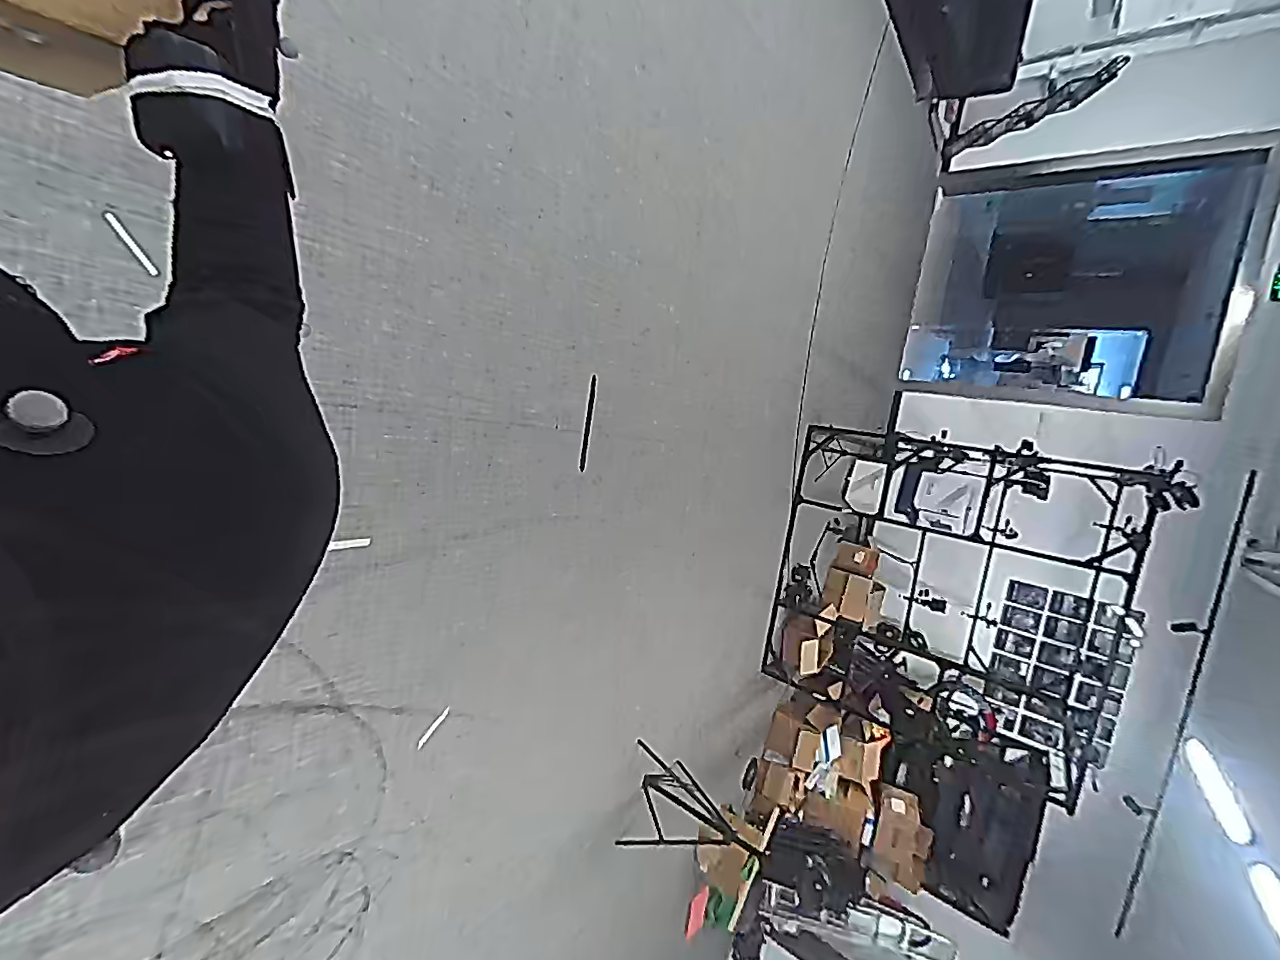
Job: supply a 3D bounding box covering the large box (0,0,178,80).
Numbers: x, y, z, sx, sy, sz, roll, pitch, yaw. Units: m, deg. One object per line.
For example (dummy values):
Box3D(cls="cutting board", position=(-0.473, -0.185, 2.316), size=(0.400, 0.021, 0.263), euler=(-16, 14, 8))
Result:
Box3D(cls="large box", position=(-0.527, -0.464, 0.257), size=(0.408, 0.320, 0.320), euler=(-10, 118, -53))
